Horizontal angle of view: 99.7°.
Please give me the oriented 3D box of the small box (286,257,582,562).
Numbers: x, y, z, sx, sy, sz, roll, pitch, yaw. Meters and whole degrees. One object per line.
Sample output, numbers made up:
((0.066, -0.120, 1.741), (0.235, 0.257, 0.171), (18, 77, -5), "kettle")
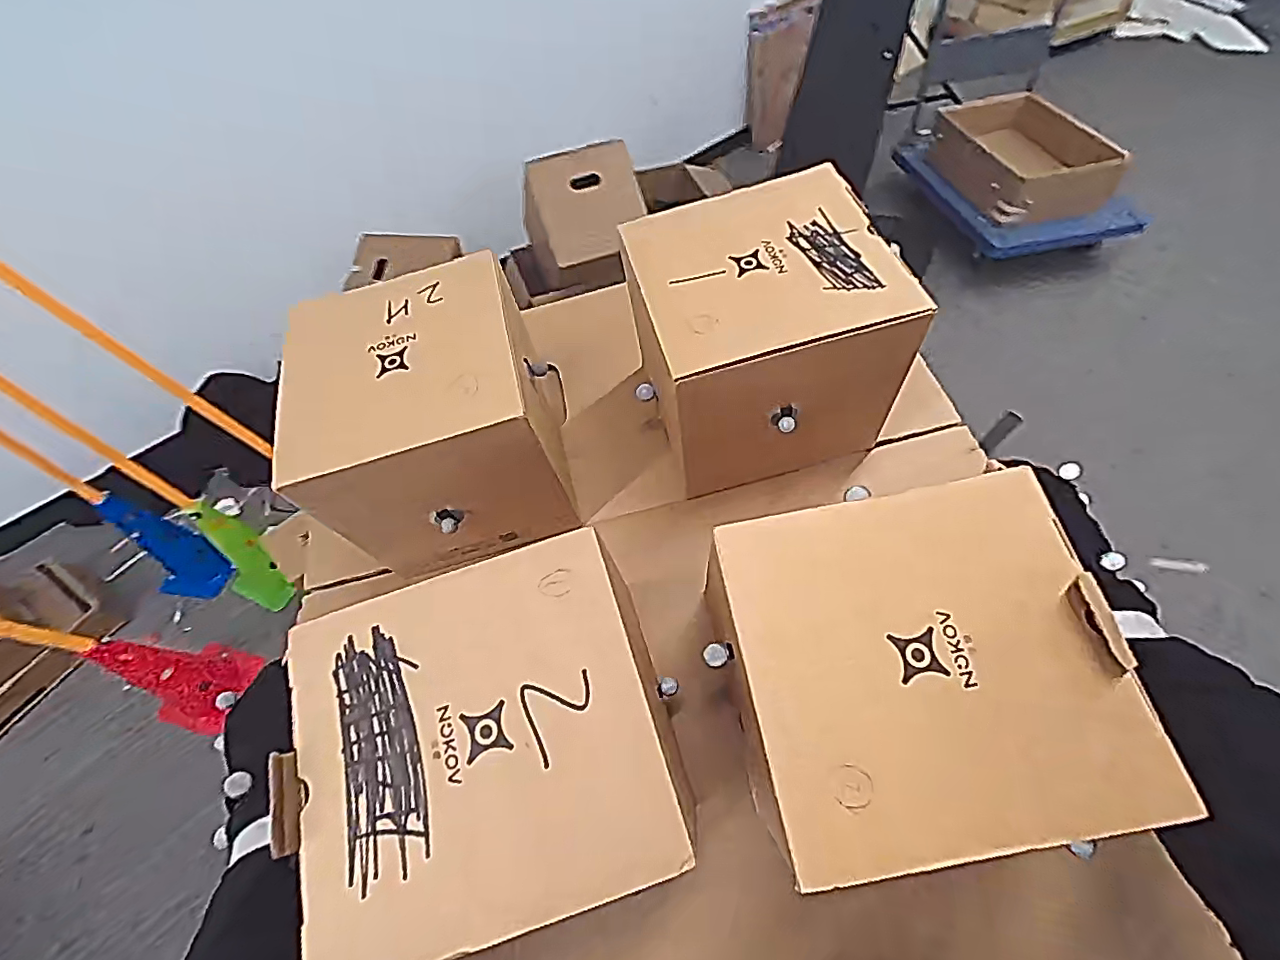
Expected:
((-0.155, -0.045, 0.454), (0.168, 0.176, 0.179), (-15, 59, -1), "small box")
